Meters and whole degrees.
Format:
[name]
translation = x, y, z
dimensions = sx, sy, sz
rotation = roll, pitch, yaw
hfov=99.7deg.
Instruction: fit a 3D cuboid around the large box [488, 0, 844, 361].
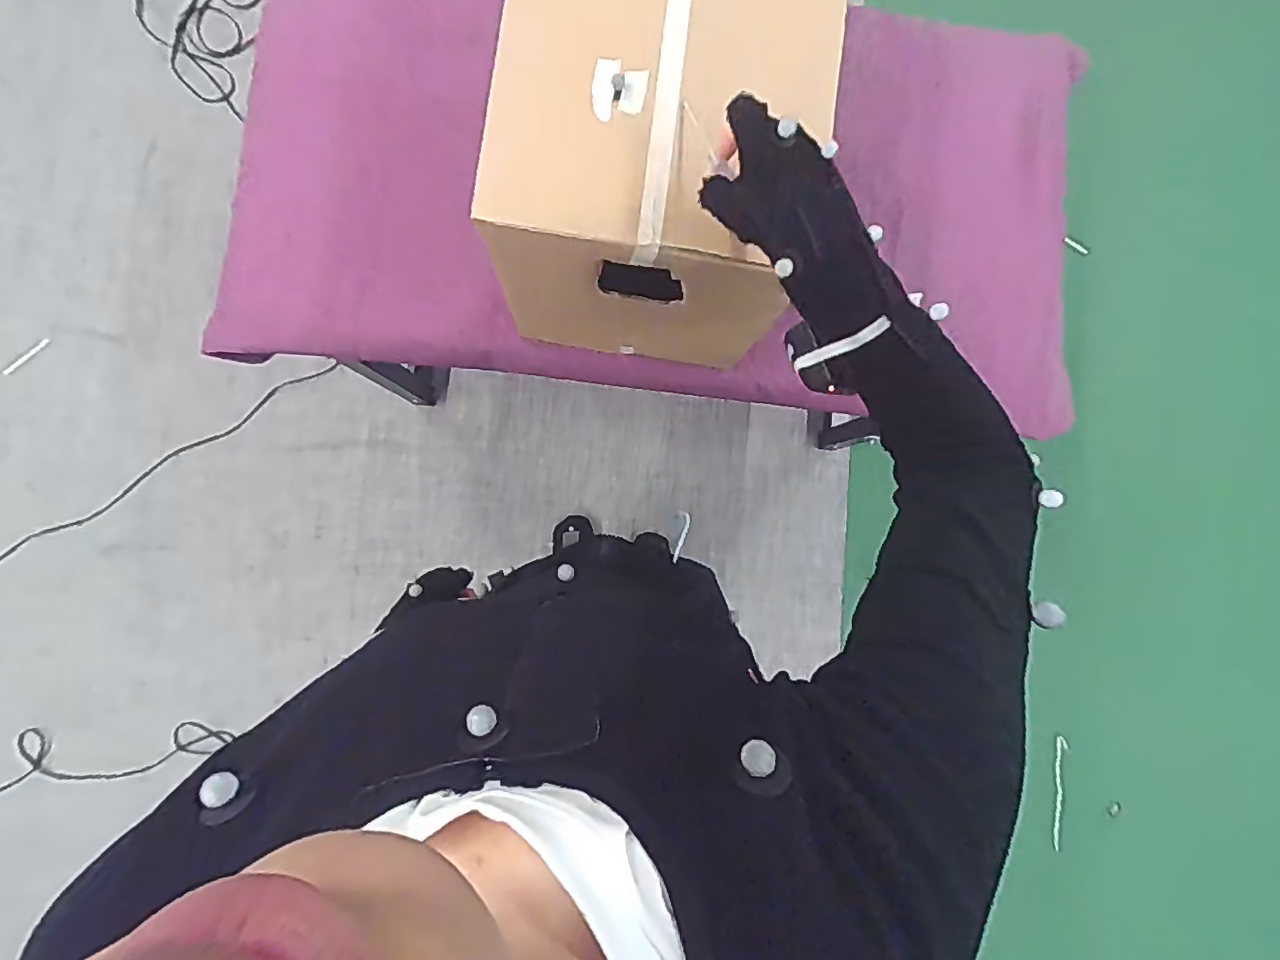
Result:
[large box]
translation = 0.022, -0.399, 0.658
dimensions = 0.320, 0.320, 0.408
rotation = 8, 87, -4
